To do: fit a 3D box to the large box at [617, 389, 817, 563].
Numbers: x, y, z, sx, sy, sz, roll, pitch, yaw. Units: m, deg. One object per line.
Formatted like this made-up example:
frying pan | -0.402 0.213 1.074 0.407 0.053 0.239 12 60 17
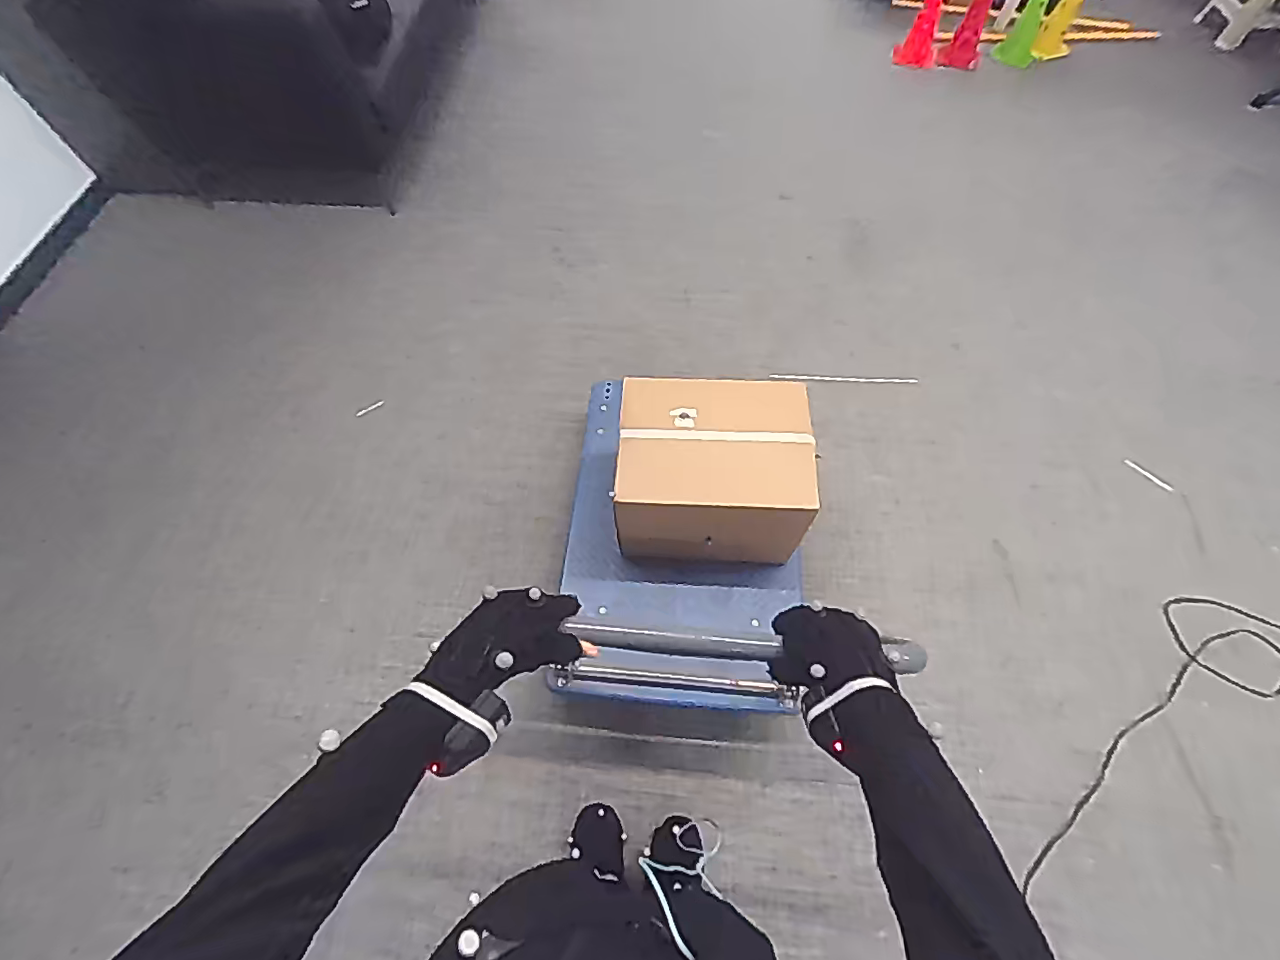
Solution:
large box | 0.163 0.003 1.274 0.408 0.320 0.320 0 61 3
